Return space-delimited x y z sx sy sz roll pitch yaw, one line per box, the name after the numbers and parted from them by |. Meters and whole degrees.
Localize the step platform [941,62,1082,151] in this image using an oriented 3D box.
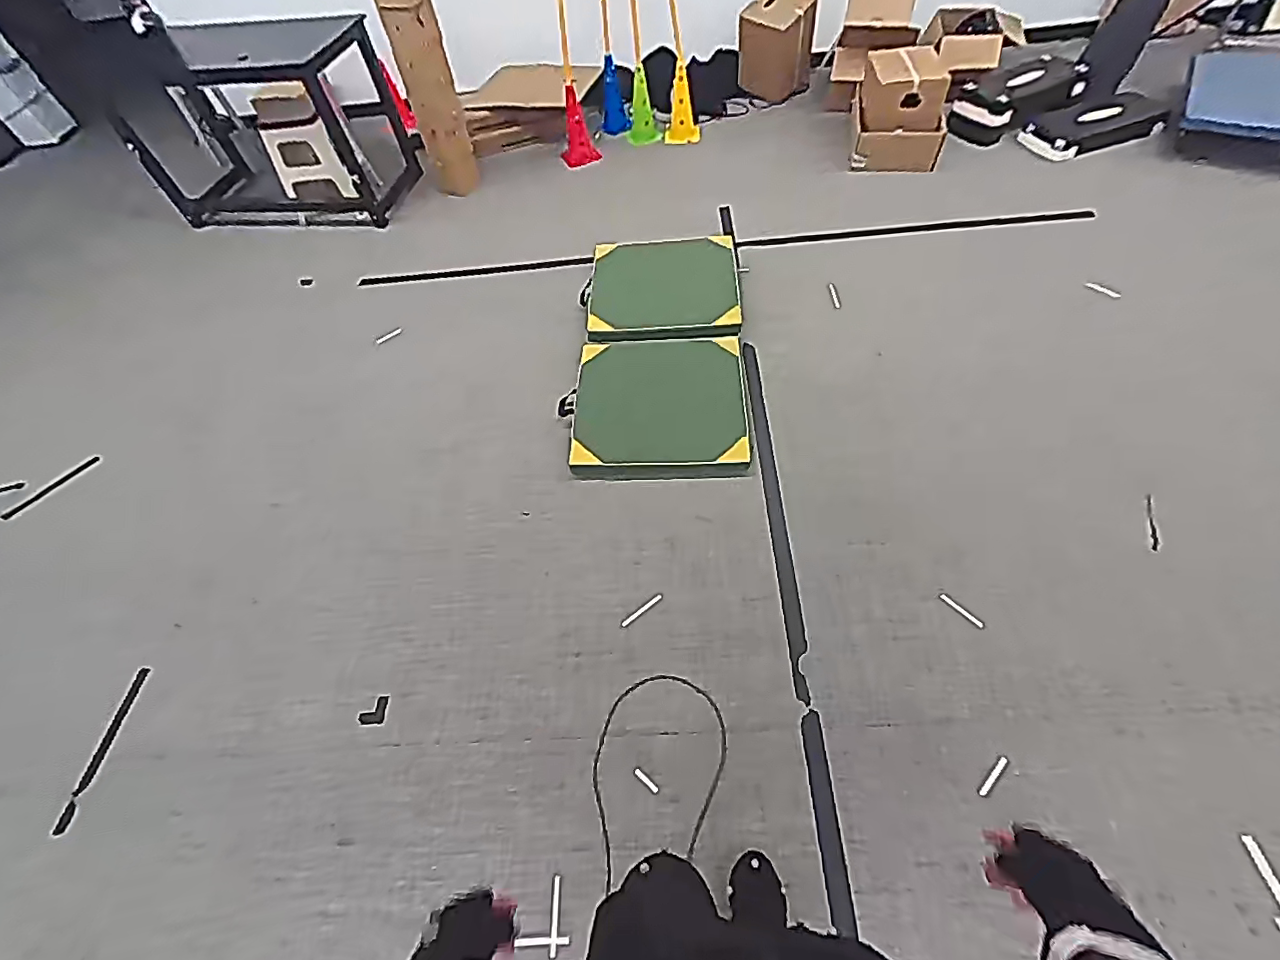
1.962 -1.983 2.859 0.684 0.204 0.286 -27 57 -12 | step platform
